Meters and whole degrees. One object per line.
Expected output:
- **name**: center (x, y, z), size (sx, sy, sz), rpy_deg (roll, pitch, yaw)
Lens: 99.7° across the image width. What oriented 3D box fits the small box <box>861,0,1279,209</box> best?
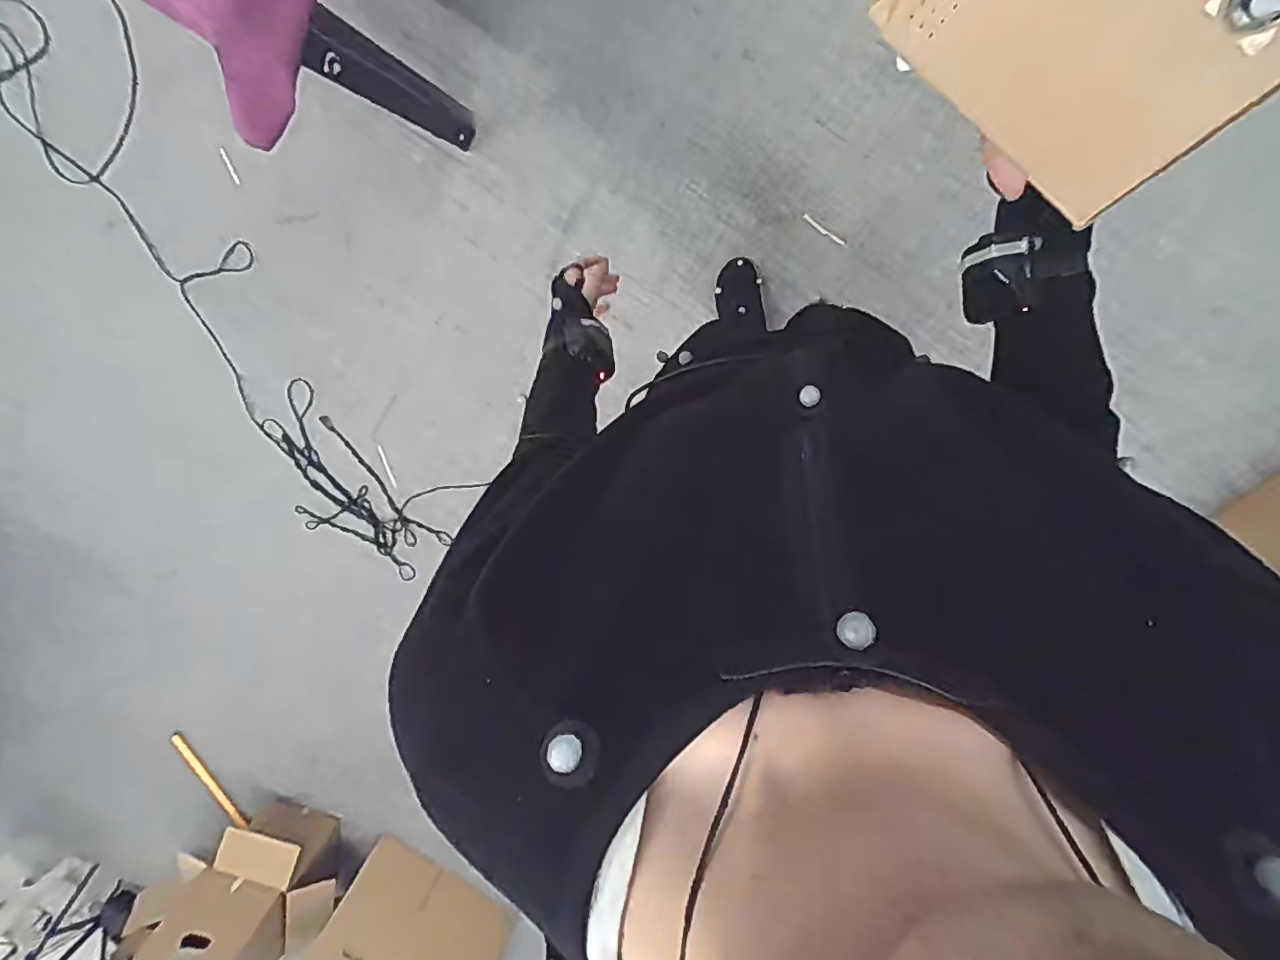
- **small box**: center (0.234, -0.279, 0.250), size (0.176, 0.168, 0.179), rpy_deg (33, 143, -10)
